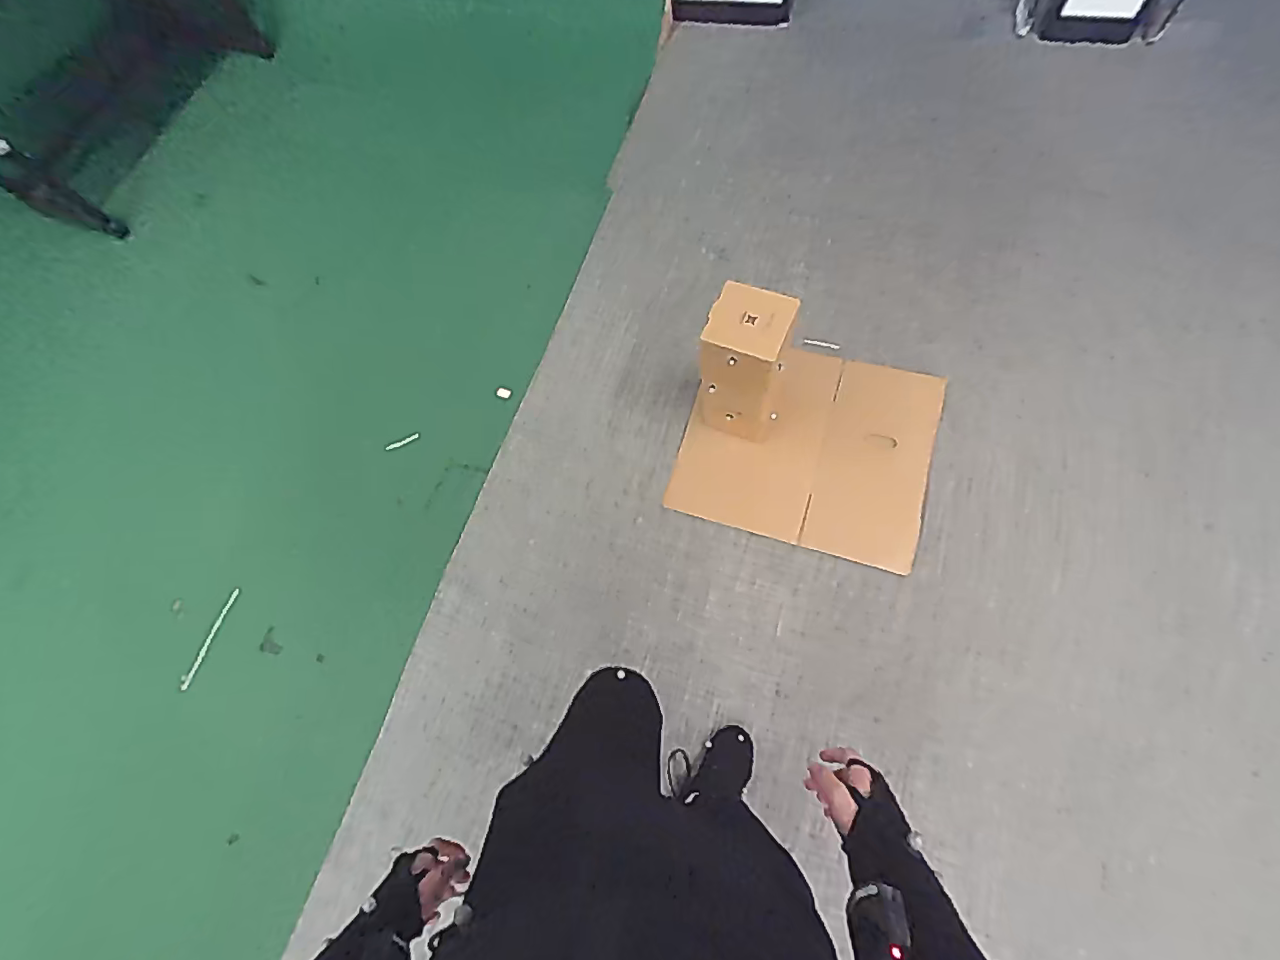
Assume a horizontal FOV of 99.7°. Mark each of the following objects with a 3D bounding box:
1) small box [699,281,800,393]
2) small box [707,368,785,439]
[{"bbox_3d":[0.252,-0.326,1.257,0.179,0.176,0.168,22,77,15],"label":"small box"},{"bbox_3d":[0.305,-0.238,1.568,0.179,0.176,0.168,20,76,15],"label":"small box"}]
